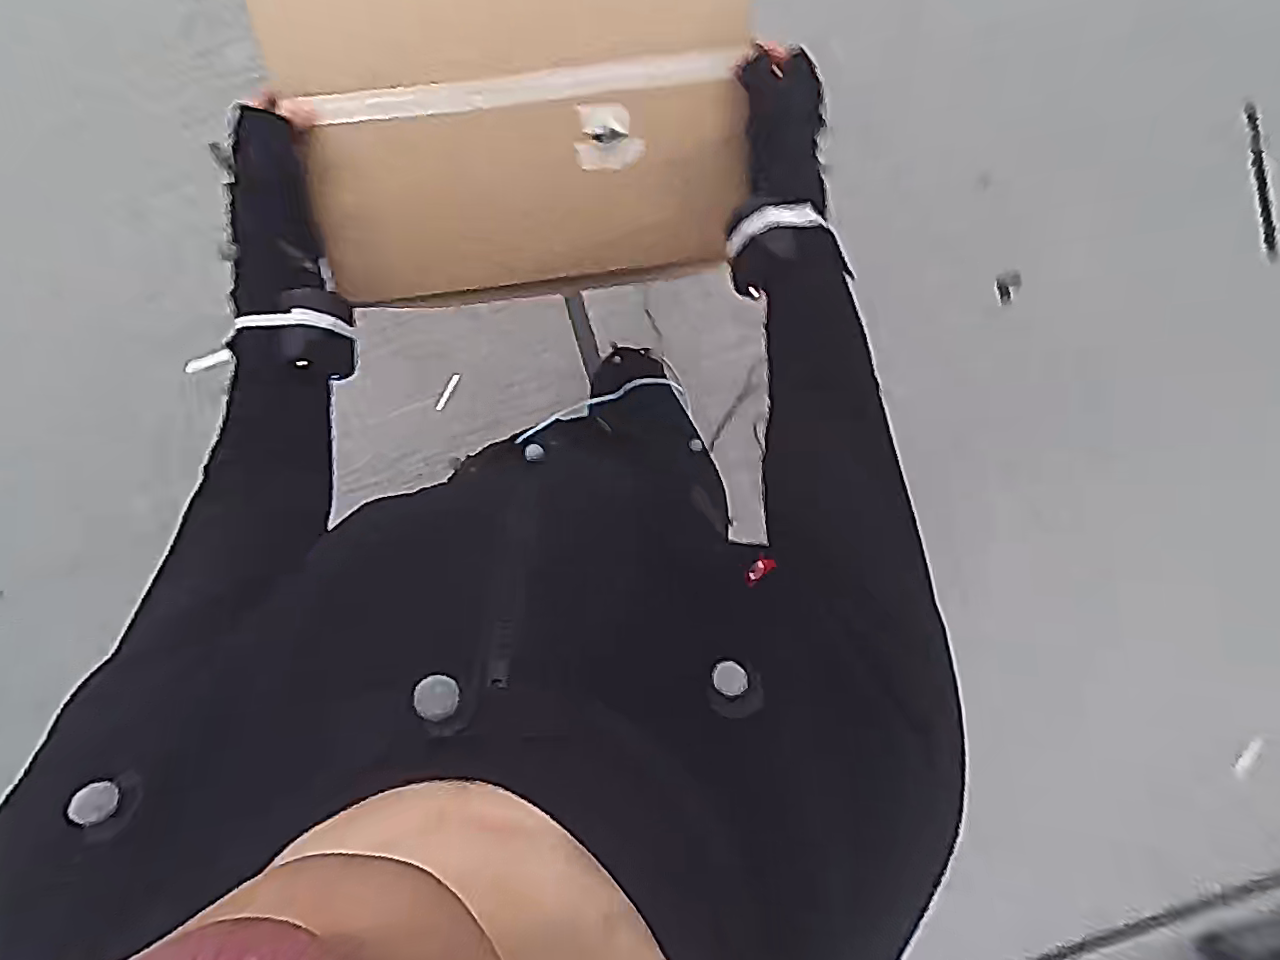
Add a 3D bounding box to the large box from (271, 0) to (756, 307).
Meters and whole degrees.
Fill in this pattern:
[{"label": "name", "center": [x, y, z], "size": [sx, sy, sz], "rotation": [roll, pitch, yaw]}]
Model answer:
[{"label": "large box", "center": [-0.115, -0.389, 0.625], "size": [0.408, 0.320, 0.320], "rotation": [-9, 109, -3]}]
